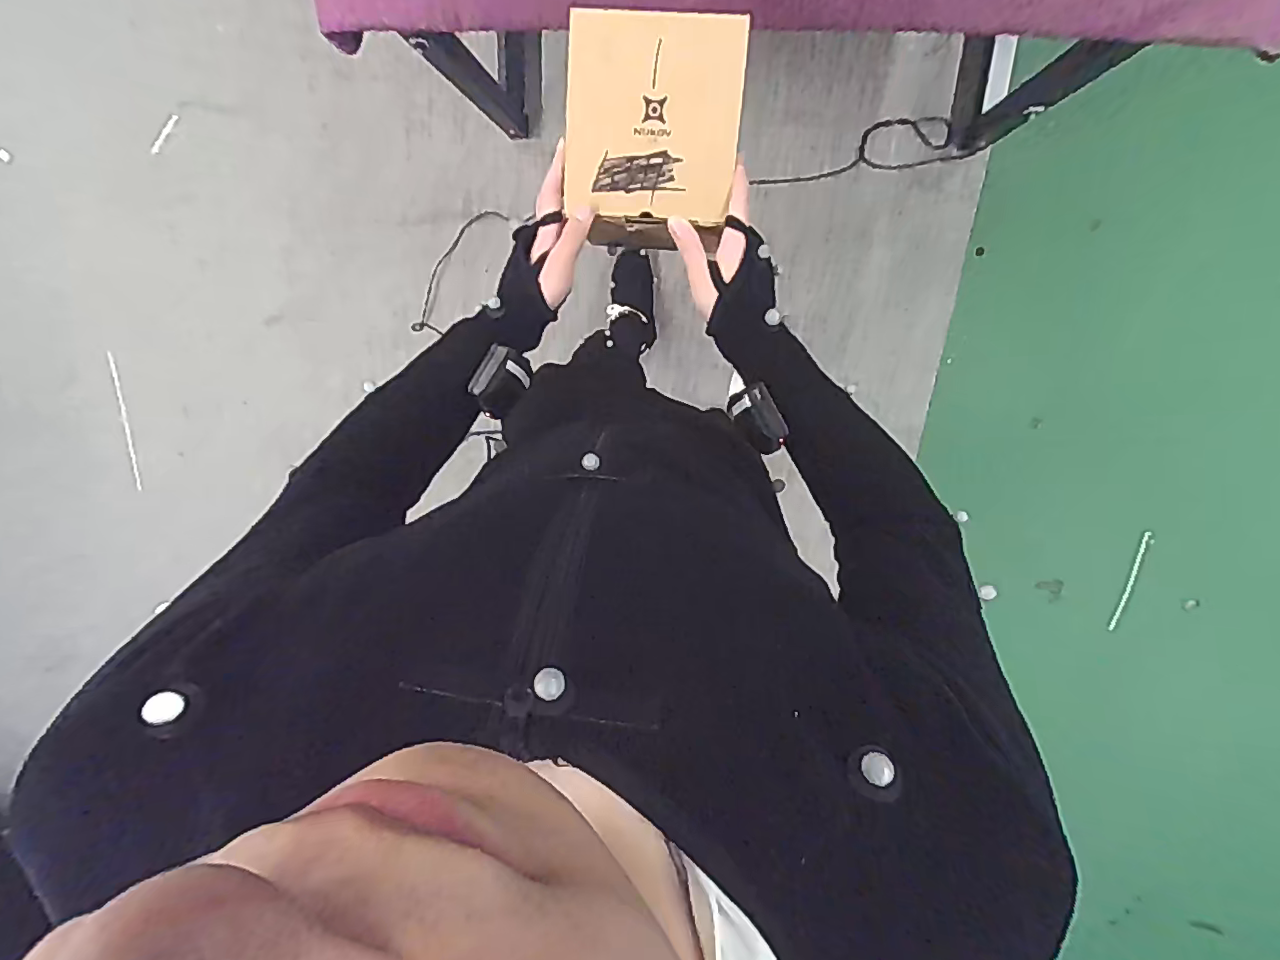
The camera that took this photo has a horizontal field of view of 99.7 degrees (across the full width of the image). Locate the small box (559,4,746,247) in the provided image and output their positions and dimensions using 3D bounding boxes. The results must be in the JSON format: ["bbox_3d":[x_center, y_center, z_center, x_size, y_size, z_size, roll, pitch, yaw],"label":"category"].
[{"bbox_3d":[0.014,-0.358,0.581,0.168,0.176,0.179,4,104,3],"label":"small box"}]
